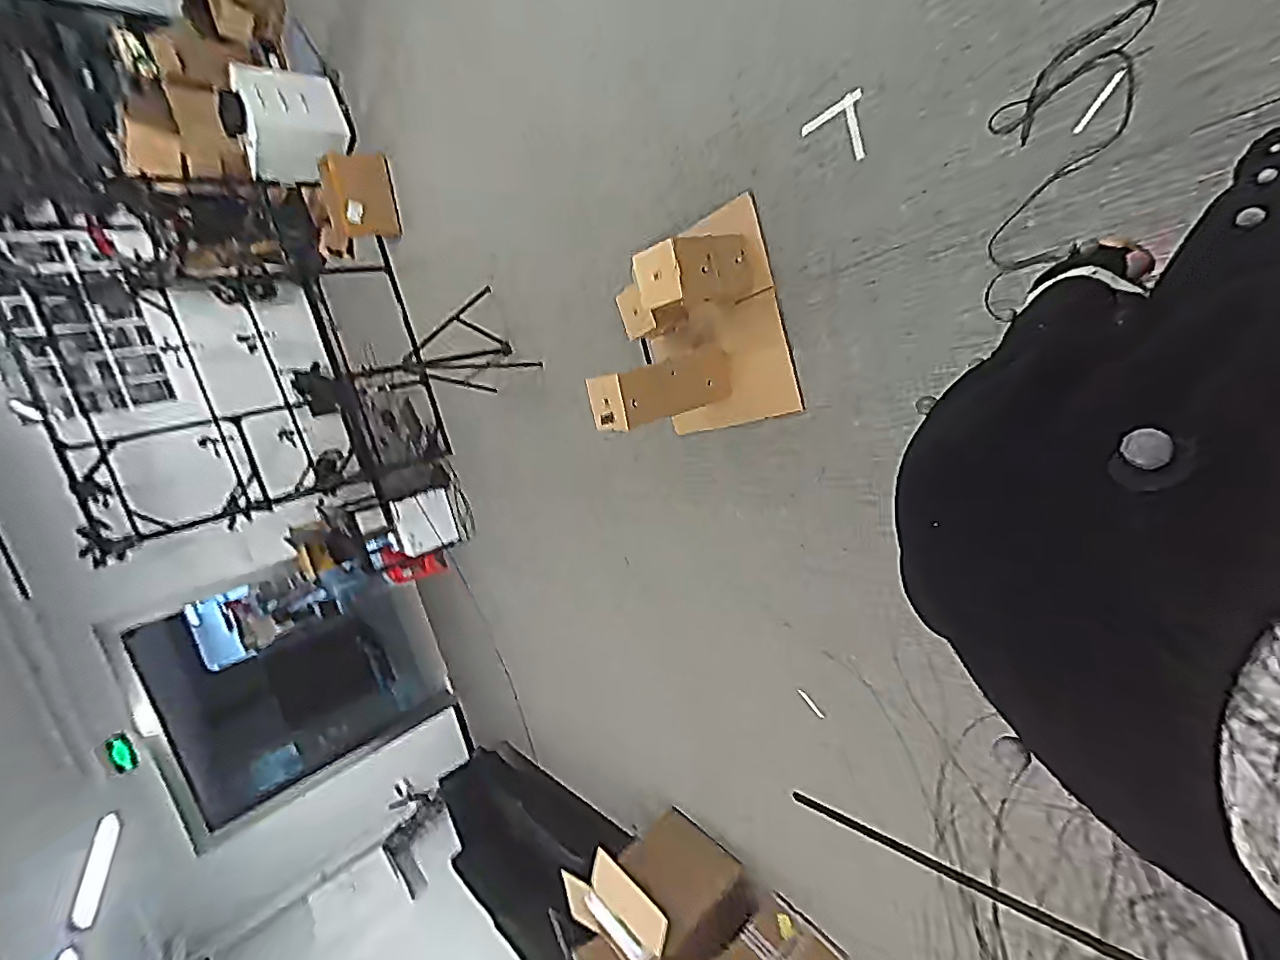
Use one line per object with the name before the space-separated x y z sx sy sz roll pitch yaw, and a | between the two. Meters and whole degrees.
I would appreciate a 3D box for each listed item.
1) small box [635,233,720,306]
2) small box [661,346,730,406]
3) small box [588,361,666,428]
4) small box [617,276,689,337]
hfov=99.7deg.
small box | 0.114 -0.632 1.627 0.179 0.176 0.168 0 108 49
small box | 0.203 -0.369 1.919 0.168 0.176 0.179 8 115 48
small box | -0.038 -0.270 1.717 0.168 0.176 0.179 5 112 50
small box | 0.050 -0.642 1.973 0.168 0.176 0.179 -11 100 53
